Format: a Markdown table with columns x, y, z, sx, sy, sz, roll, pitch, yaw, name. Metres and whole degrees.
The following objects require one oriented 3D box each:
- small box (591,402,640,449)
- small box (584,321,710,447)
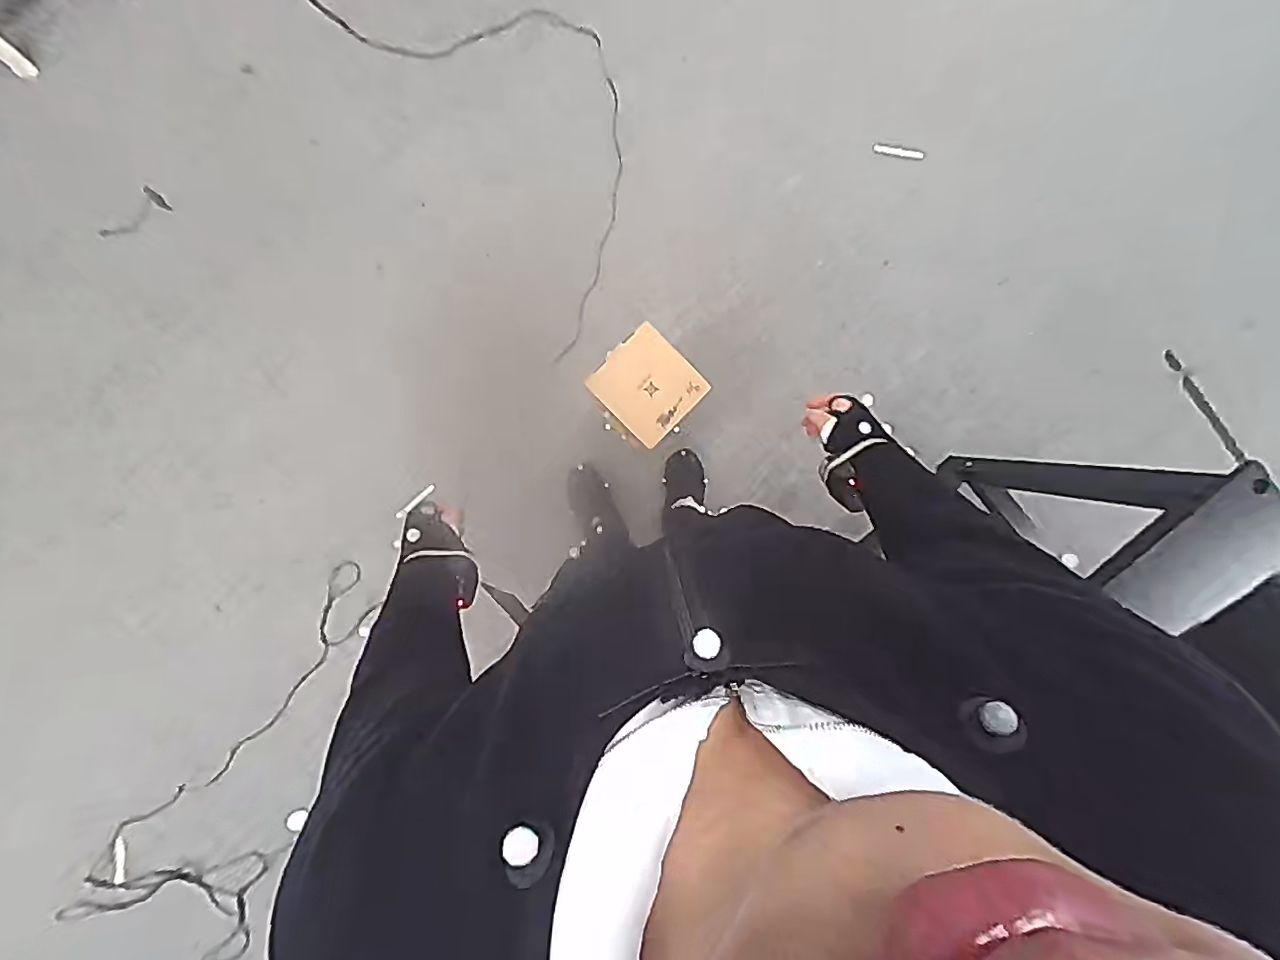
| x | y | z | sx | sy | sz | roll | pitch | yaw | name |
| --- | --- | --- | --- | --- | --- | --- | --- | --- | --- |
| -0.010 | -0.199 | 1.393 | 0.168 | 0.176 | 0.179 | 45 | 92 | -5 | small box |
| 0.010 | -0.178 | 1.068 | 0.179 | 0.176 | 0.168 | 45 | 91 | -5 | small box |
